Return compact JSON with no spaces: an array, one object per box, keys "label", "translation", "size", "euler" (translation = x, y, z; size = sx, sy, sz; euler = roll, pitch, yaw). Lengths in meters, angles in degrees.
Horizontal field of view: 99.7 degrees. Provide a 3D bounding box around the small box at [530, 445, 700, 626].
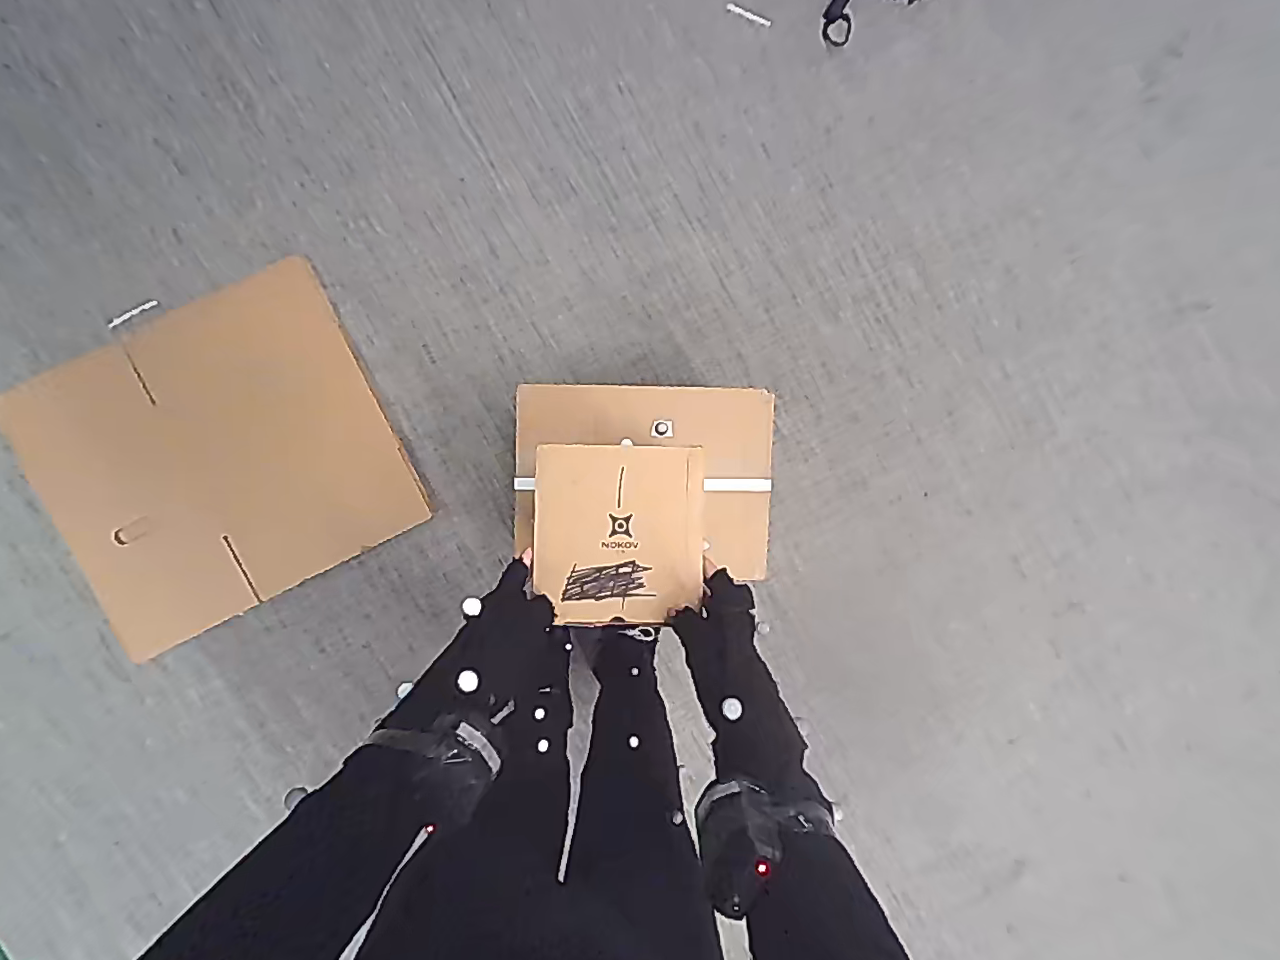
[{"label":"small box","translation":[-0.025,0.056,0.608],"size":[0.168,0.176,0.179],"euler":[1,88,-2]}]
